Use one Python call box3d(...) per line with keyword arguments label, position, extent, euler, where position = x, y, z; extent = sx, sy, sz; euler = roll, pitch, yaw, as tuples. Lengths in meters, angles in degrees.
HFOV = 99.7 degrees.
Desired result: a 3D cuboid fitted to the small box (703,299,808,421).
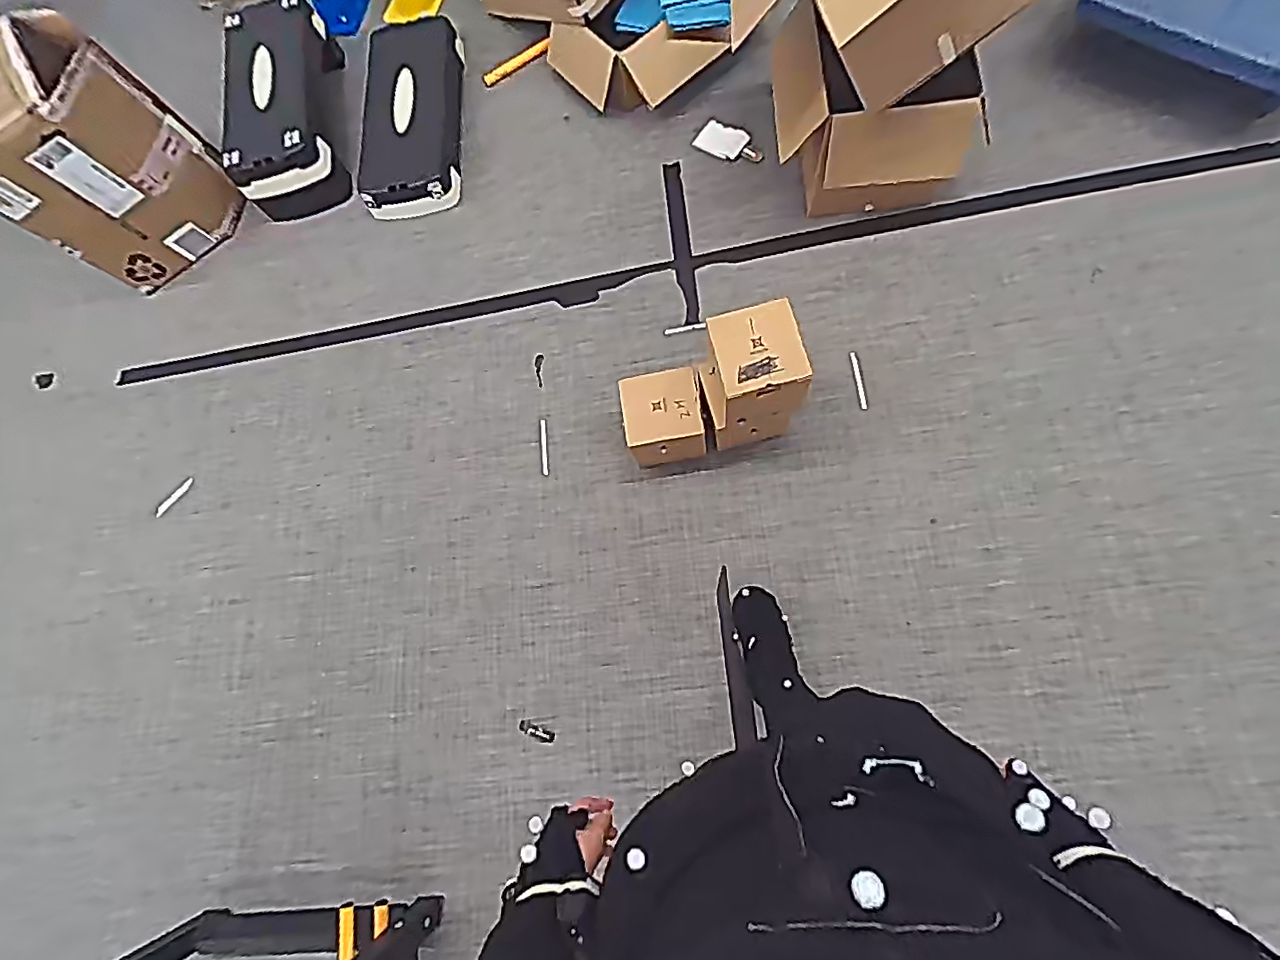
box3d(label="small box", position=(0.231, -0.232, 1.106), extent=(0.168, 0.176, 0.179), euler=(-13, 74, 5))
